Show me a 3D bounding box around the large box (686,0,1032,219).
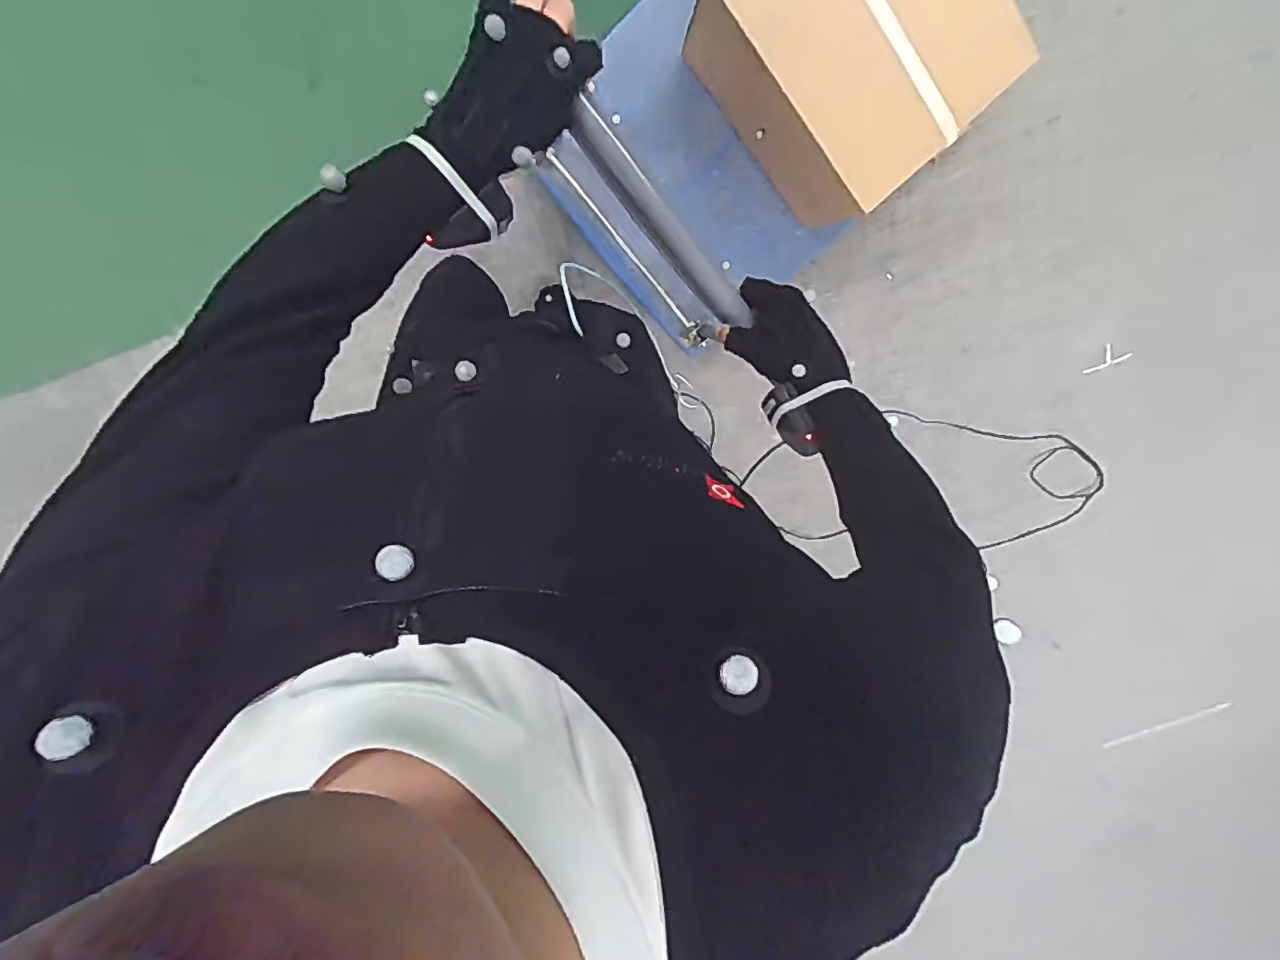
[{"bbox_3d":[0.332,-0.719,0.913,0.320,0.320,0.408,-41,108,12],"label":"large box"}]
